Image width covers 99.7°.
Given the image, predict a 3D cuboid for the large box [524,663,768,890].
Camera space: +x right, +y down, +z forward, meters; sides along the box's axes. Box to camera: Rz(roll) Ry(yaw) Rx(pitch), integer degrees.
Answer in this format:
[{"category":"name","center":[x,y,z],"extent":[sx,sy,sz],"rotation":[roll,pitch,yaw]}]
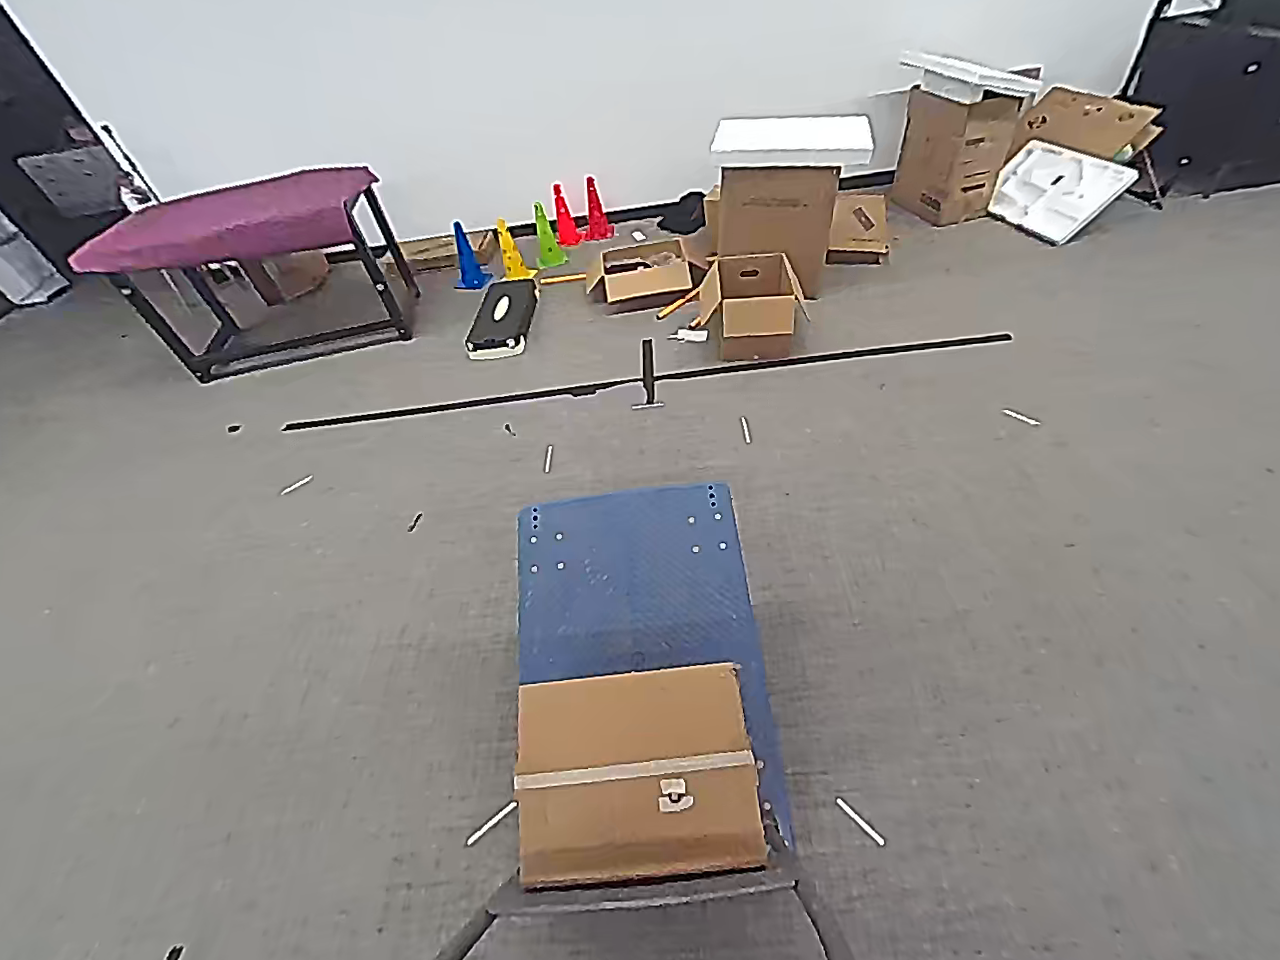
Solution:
[{"category":"large box","center":[0.006,0.568,1.079],"extent":[0.408,0.320,0.320],"rotation":[-7,65,1]}]
